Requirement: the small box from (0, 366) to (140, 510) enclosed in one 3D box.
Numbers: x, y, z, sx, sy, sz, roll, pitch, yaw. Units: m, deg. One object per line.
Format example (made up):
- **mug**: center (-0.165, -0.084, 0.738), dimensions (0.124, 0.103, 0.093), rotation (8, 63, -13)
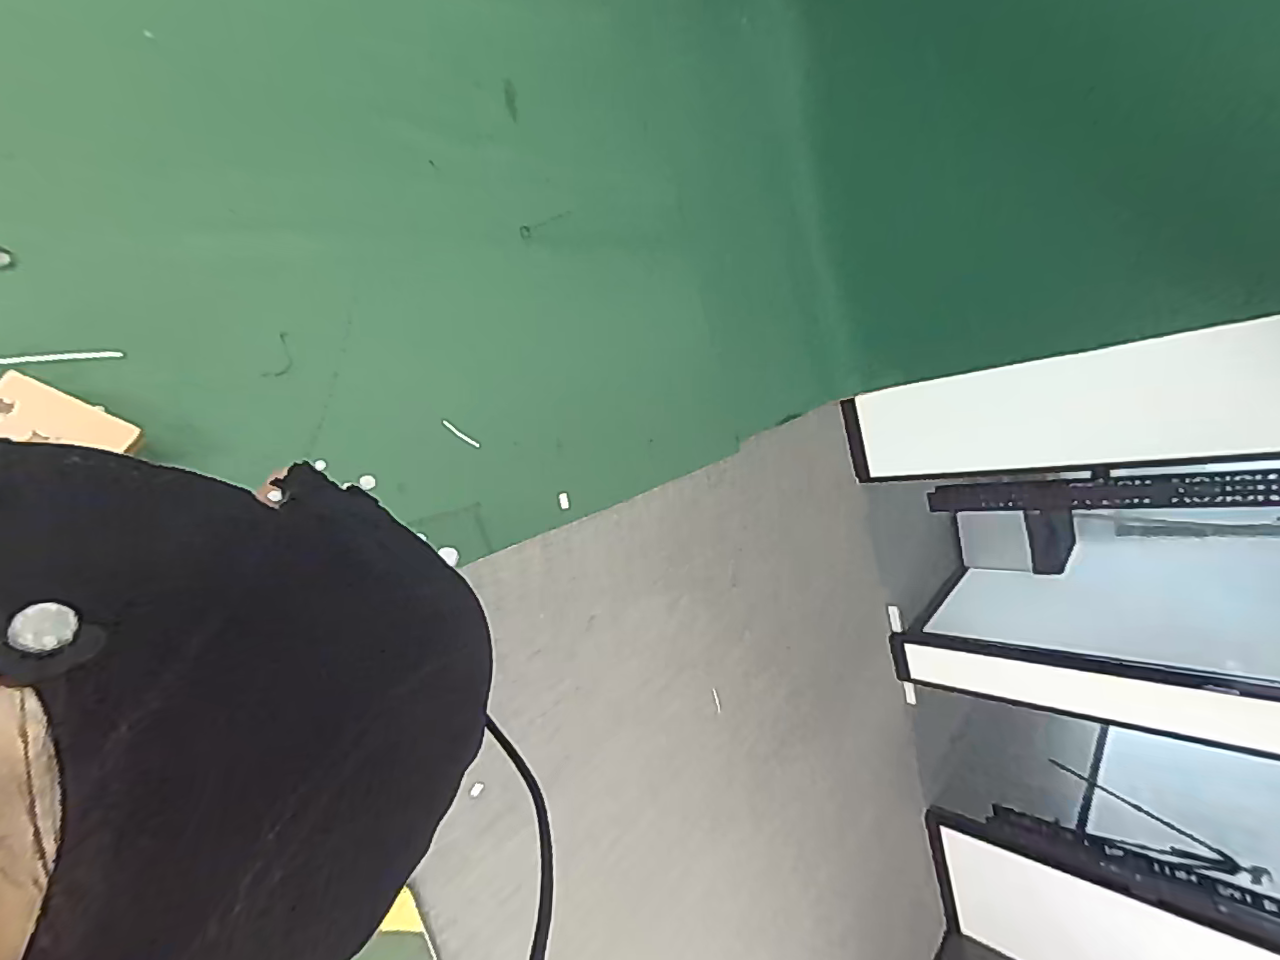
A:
- **small box**: center (-0.986, -0.062, 0.900), dimensions (0.179, 0.176, 0.168), rotation (37, 63, -35)
